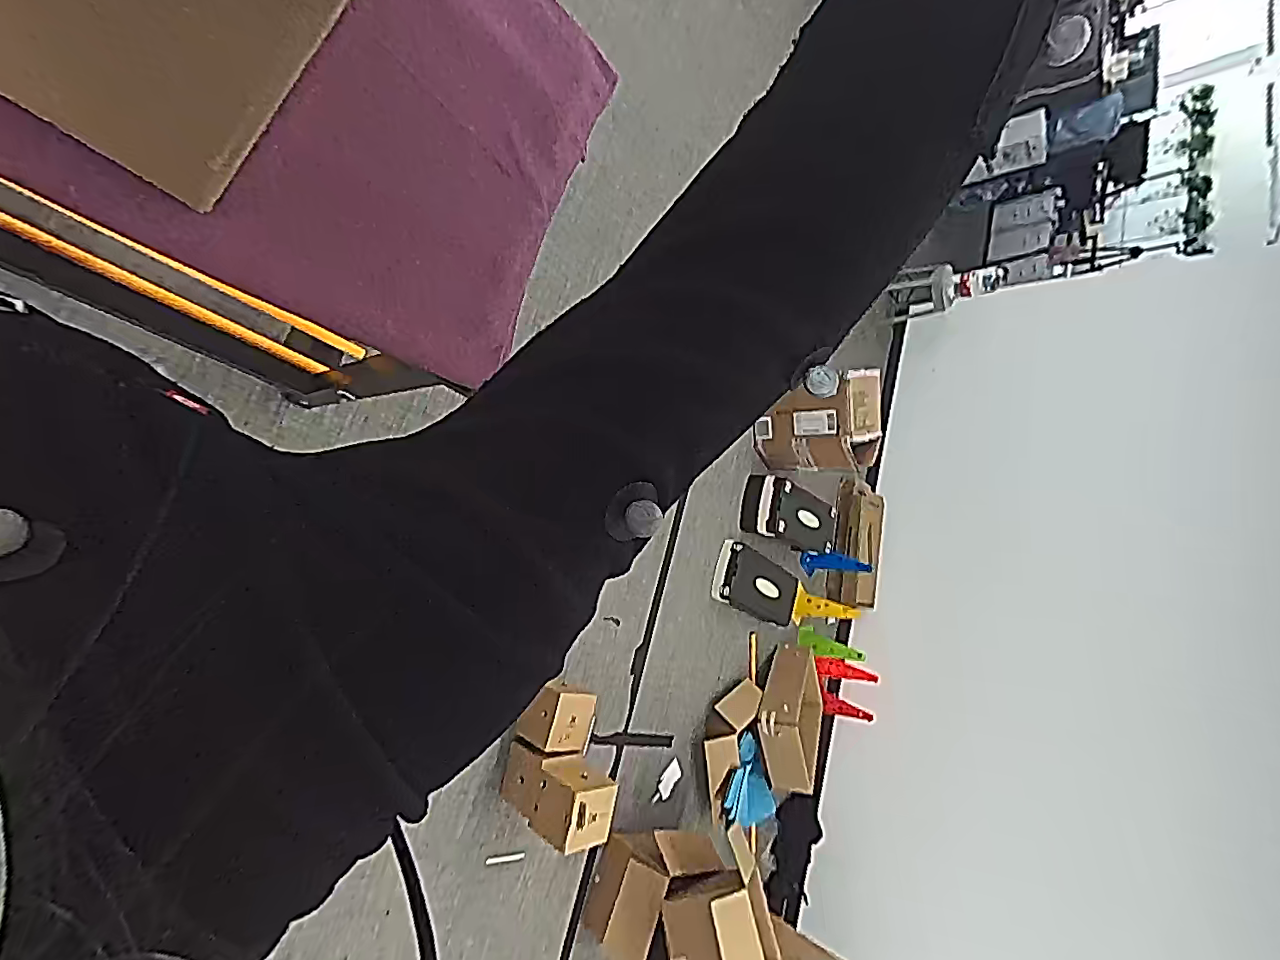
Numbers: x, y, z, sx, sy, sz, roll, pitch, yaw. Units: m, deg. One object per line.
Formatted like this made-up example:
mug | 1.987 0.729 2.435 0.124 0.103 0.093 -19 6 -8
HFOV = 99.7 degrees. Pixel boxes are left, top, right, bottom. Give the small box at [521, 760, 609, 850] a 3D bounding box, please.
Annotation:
small box | -0.225 0.952 1.601 0.179 0.176 0.168 23 77 -47
